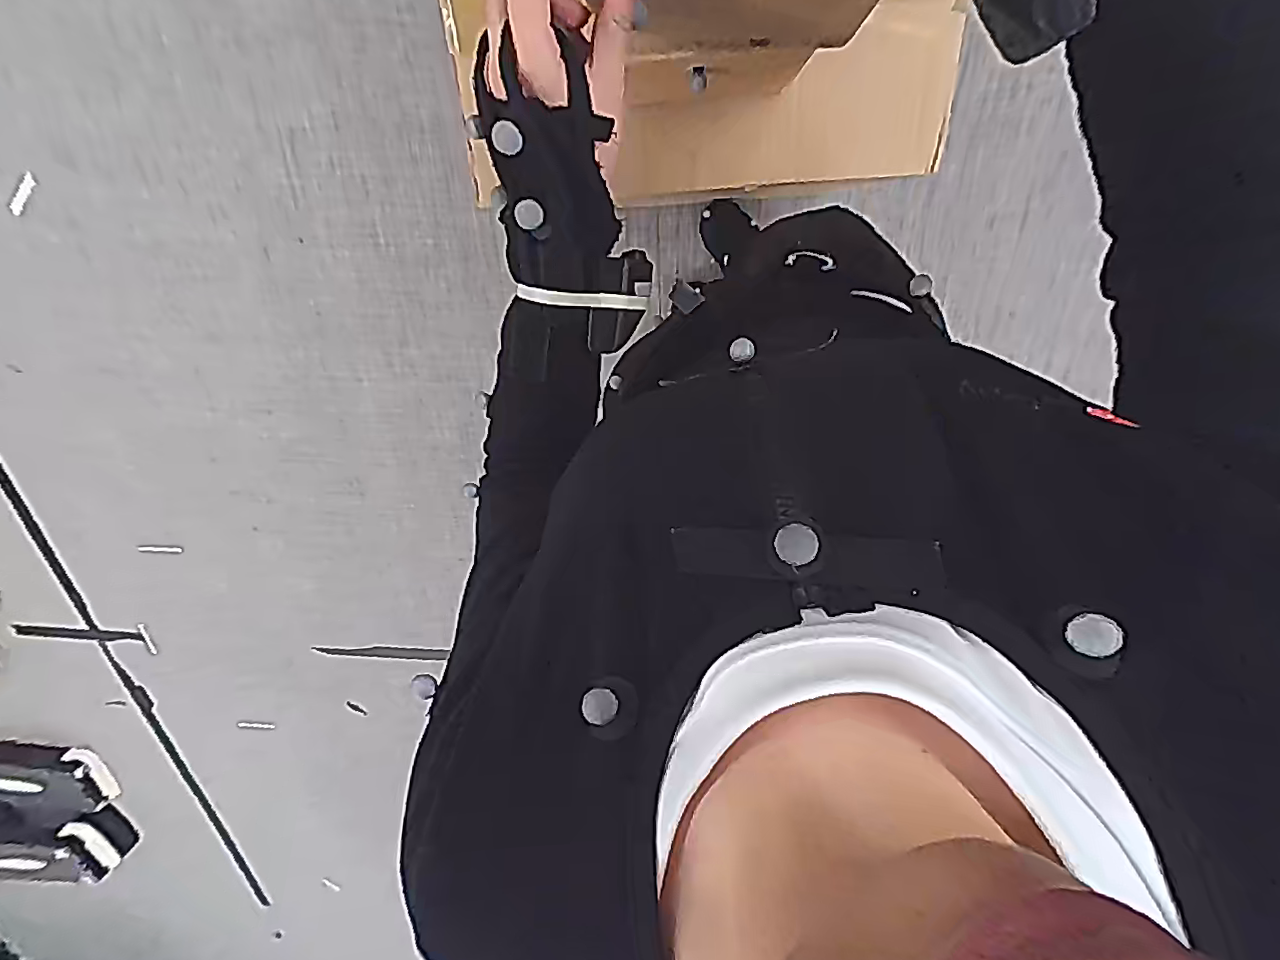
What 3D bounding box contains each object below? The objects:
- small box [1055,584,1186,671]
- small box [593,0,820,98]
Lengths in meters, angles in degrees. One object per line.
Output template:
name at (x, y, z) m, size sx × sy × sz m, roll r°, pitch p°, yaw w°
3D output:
small box at (1.271, 0.395, 1.447) m, size 0.179 × 0.176 × 0.168 m, roll 1°, pitch 116°, yaw 6°
small box at (0.054, -0.445, 0.463) m, size 0.179 × 0.176 × 0.168 m, roll 0°, pitch 116°, yaw 7°
